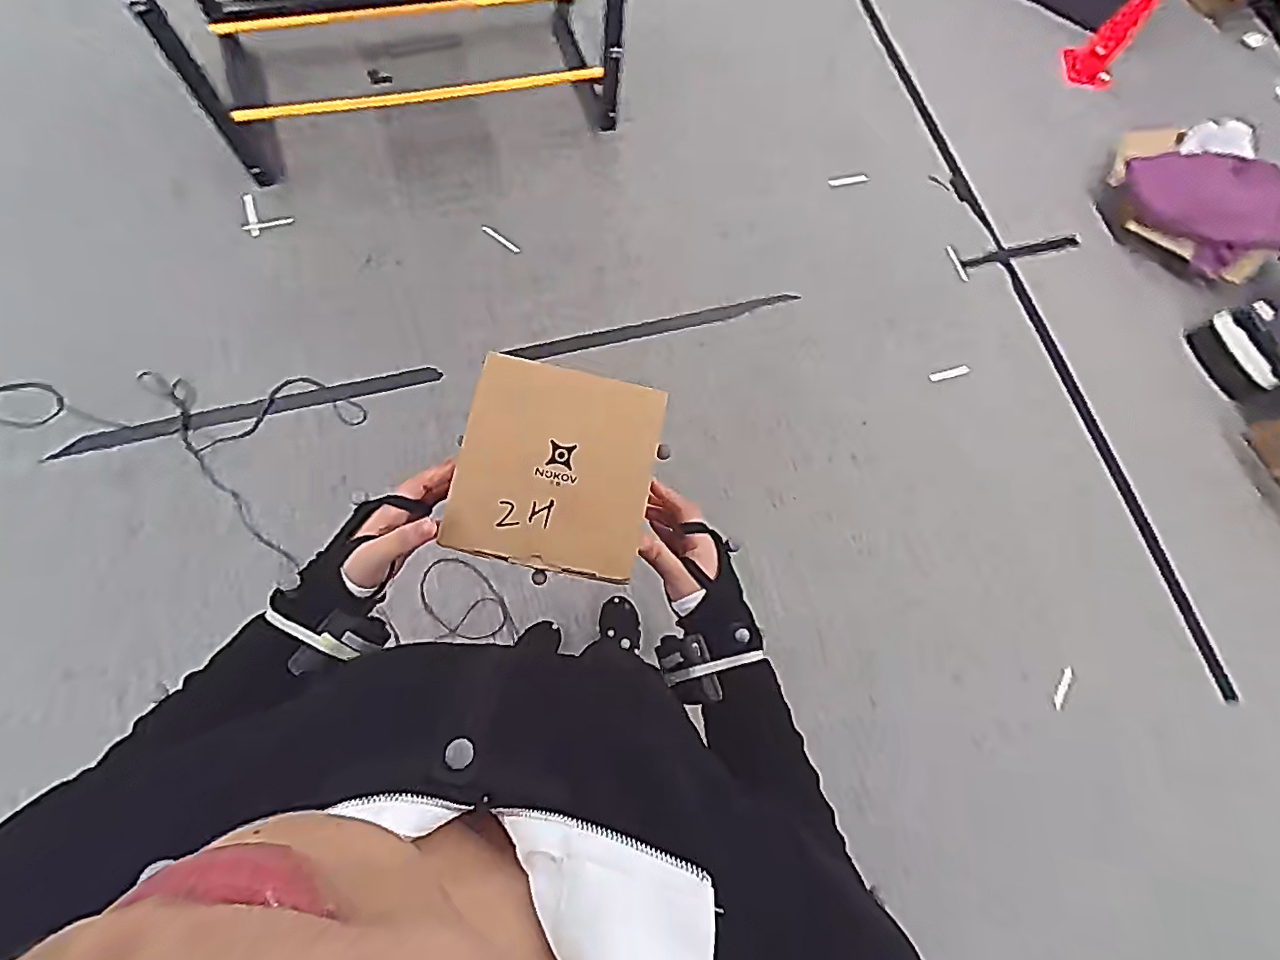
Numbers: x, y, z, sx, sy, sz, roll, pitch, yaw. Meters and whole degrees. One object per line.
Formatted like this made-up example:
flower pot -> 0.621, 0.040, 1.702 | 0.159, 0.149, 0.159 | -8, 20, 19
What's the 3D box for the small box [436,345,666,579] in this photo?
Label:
small box -> -0.080, -0.003, 0.535 | 0.168, 0.176, 0.179 | 11, 78, -4
